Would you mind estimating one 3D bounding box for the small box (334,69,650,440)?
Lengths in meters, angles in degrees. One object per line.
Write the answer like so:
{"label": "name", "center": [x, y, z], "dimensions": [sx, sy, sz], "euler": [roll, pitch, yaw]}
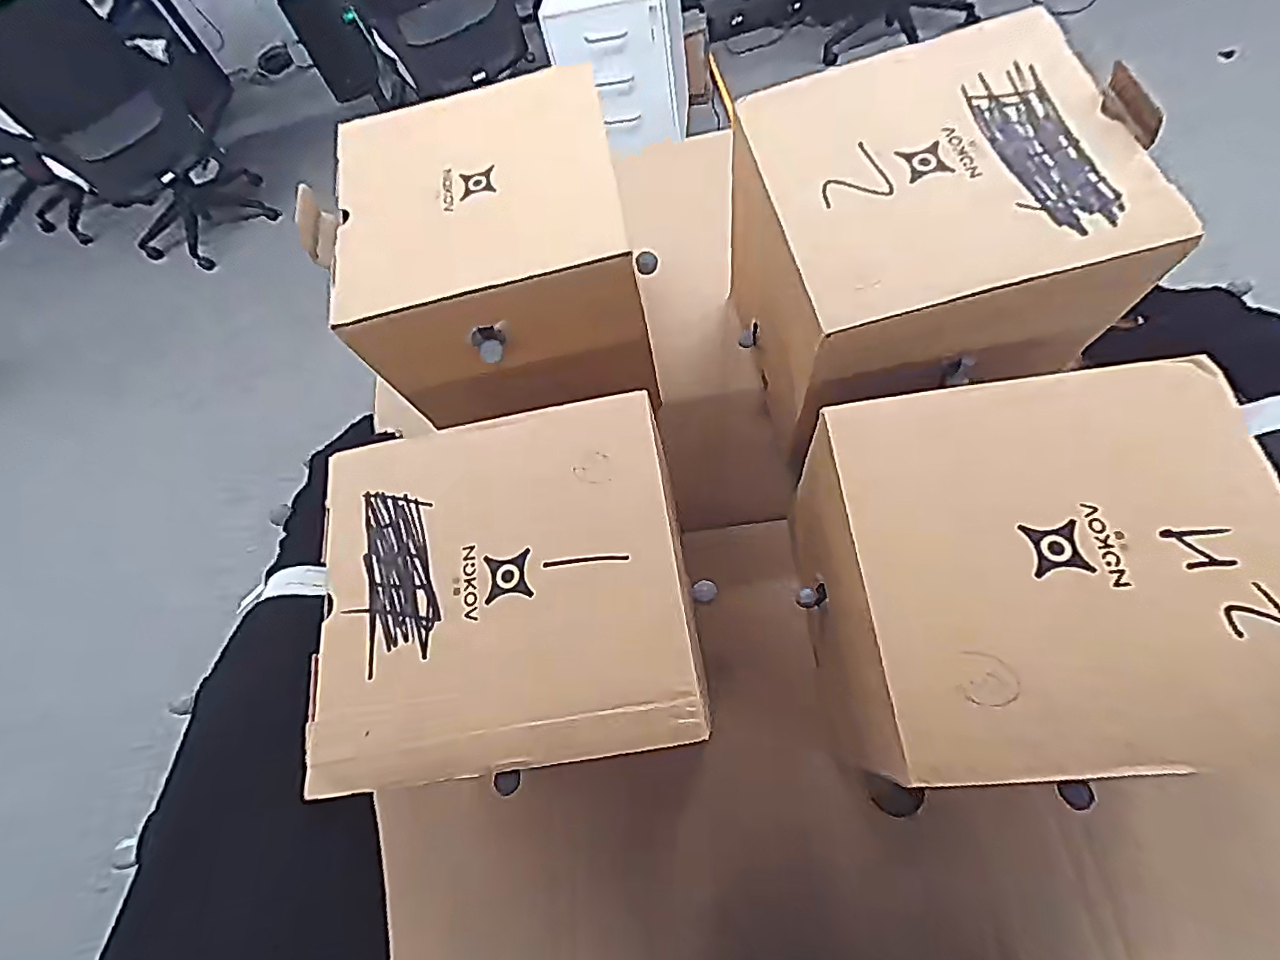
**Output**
{"label": "small box", "center": [-0.093, -0.150, 0.406], "dimensions": [0.179, 0.176, 0.168], "euler": [-13, 68, 5]}
